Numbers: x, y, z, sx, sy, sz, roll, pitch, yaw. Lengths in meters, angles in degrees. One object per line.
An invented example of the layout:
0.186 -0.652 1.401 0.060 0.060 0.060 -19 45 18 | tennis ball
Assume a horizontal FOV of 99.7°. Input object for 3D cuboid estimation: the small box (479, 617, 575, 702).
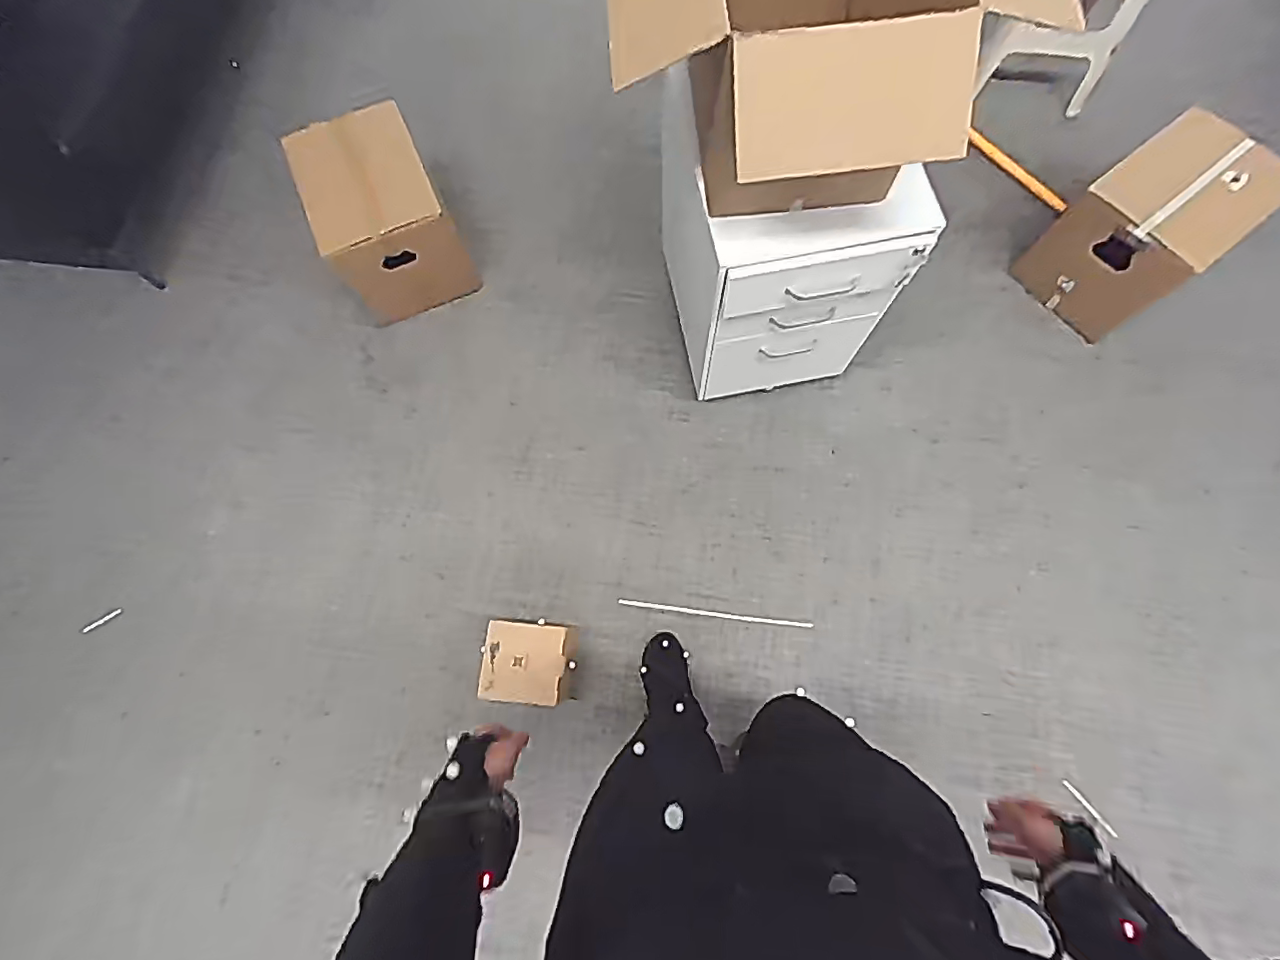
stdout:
-0.254 0.413 1.261 0.179 0.176 0.168 5 74 3 | small box
